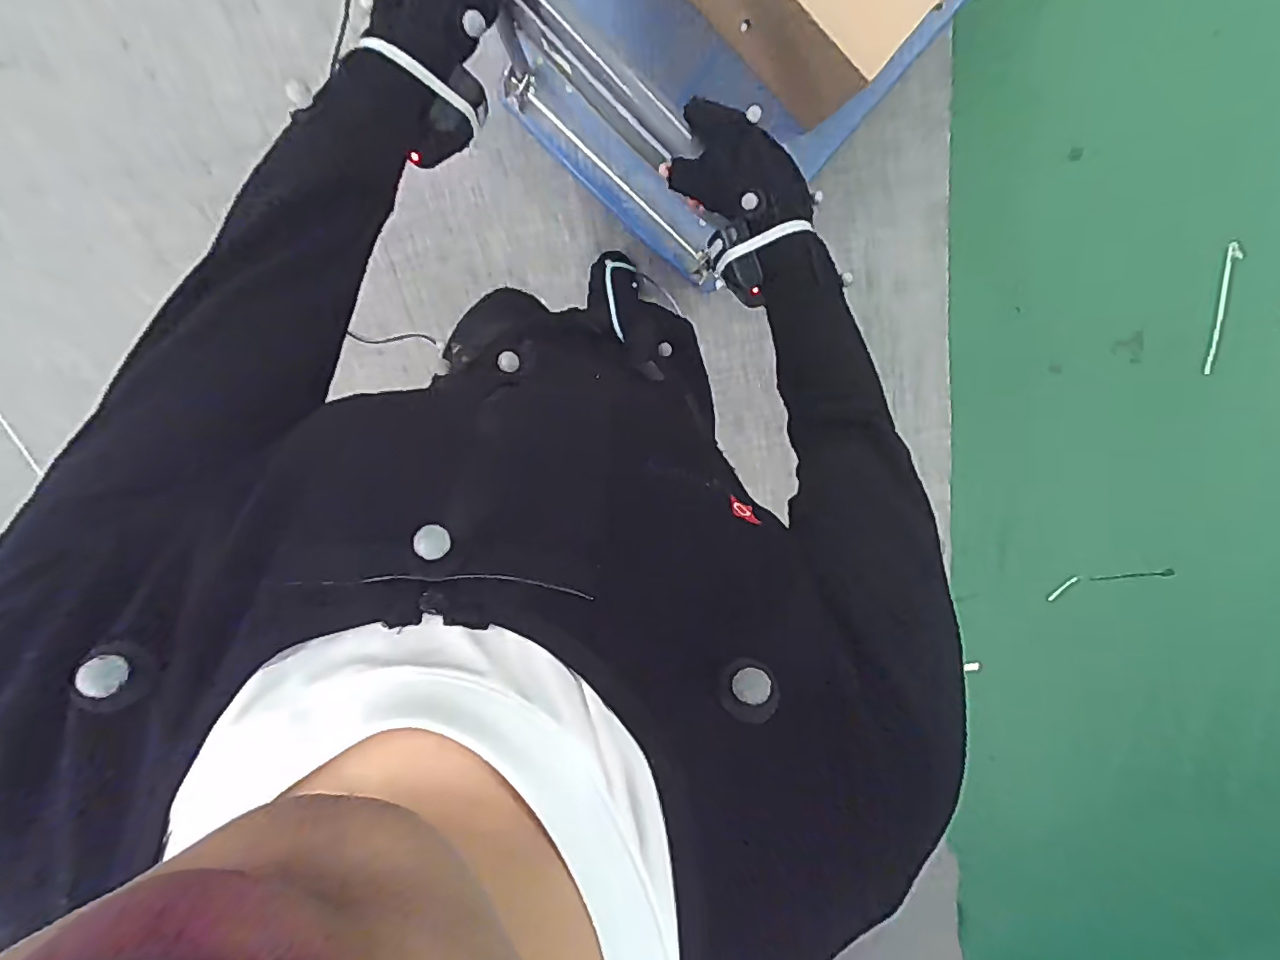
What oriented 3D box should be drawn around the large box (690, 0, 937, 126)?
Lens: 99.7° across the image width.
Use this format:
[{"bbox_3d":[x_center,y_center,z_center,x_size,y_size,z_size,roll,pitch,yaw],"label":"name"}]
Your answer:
[{"bbox_3d":[0.279,-0.855,0.835,0.408,0.320,0.320,38,107,-13],"label":"large box"}]
